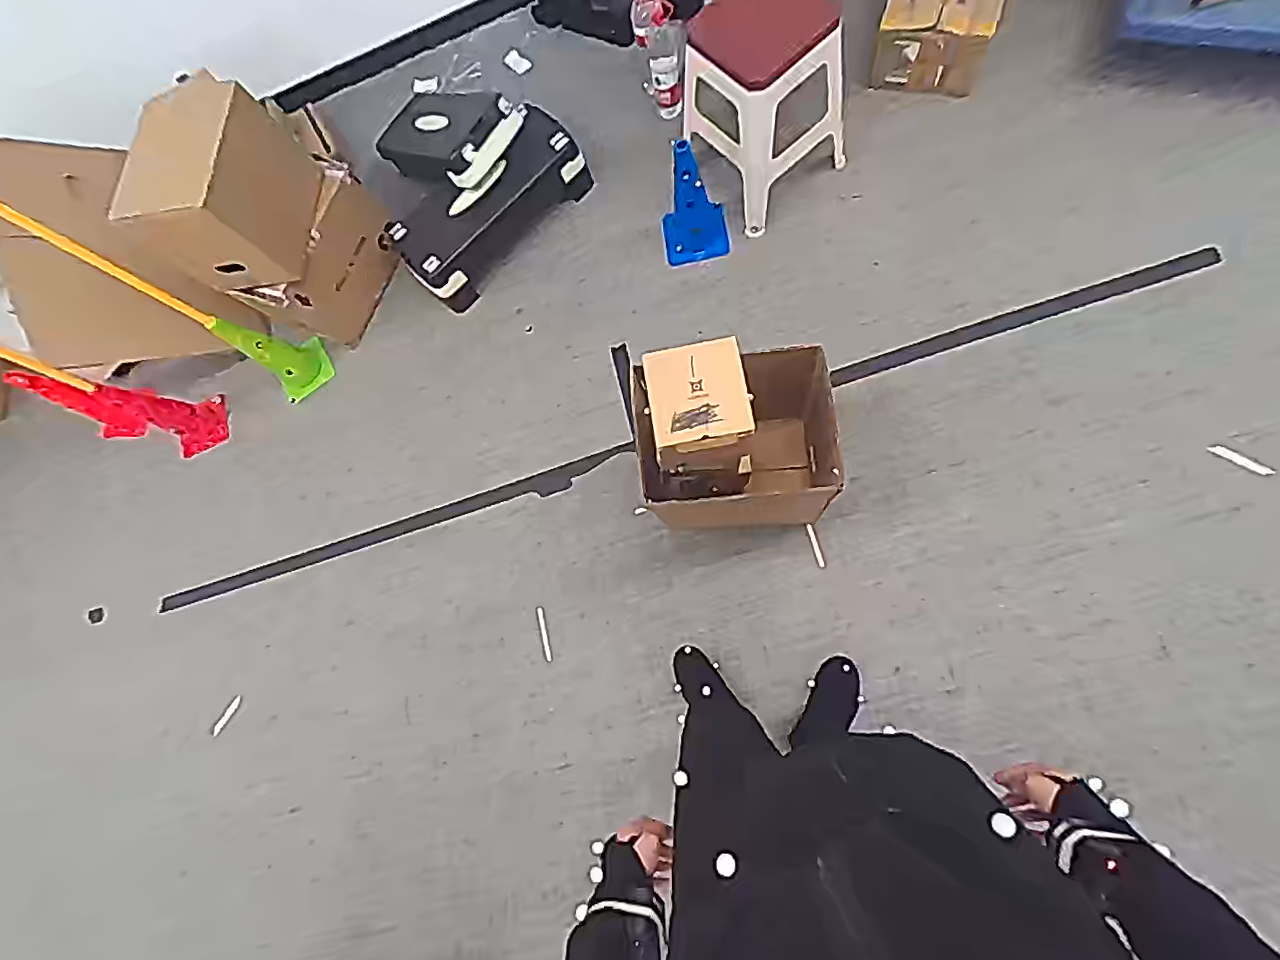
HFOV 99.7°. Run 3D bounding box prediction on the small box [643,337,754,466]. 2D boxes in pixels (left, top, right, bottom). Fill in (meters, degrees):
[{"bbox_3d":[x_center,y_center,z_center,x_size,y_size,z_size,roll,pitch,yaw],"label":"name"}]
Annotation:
[{"bbox_3d":[0.106,-0.130,0.978,0.168,0.176,0.179,-10,77,5],"label":"small box"}]
